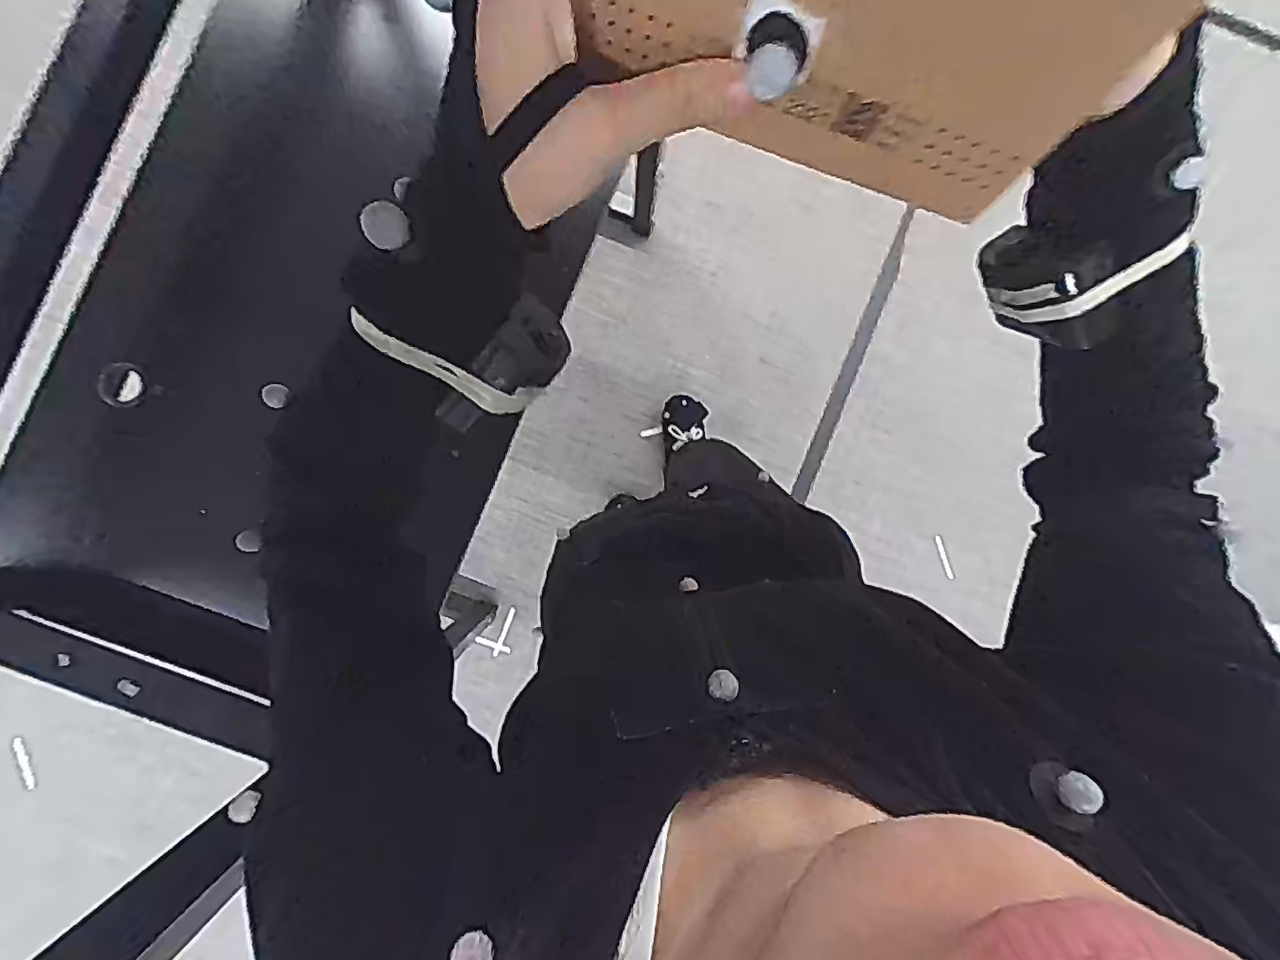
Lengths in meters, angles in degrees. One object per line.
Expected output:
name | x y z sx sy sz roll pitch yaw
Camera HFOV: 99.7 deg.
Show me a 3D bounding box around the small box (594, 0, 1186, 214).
small box | 0.087 -0.223 0.155 0.168 0.176 0.179 18 77 -3
